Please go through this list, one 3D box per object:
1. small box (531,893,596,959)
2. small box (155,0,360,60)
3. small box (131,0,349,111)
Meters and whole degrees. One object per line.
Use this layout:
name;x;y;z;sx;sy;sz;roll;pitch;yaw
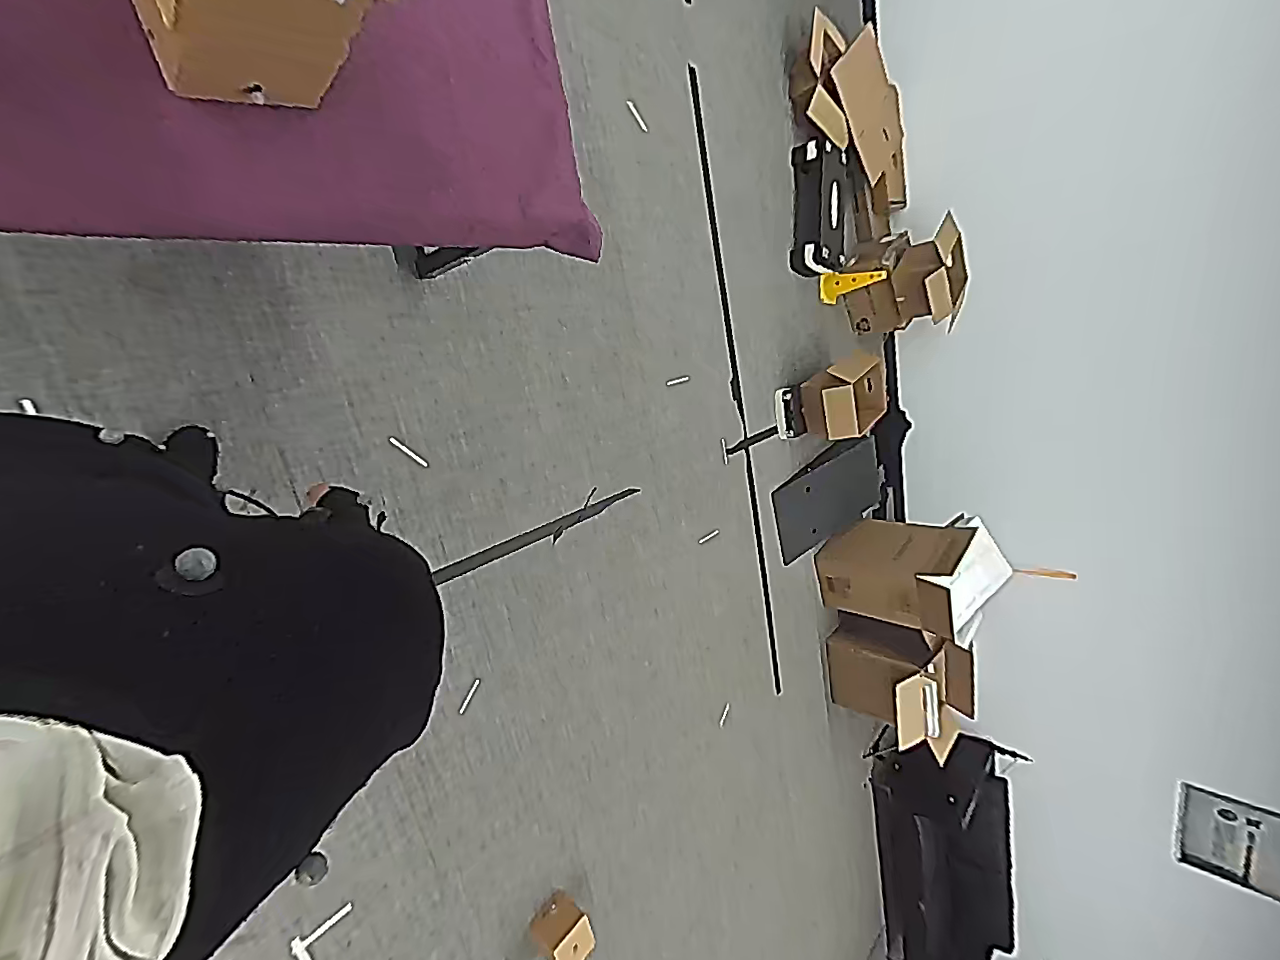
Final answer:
small box;-0.300;1.775;2.110;0.168;0.176;0.179;-28;112;-40
small box;-0.401;-0.564;0.545;0.179;0.176;0.168;-28;111;-40
small box;-0.504;-0.589;0.671;0.179;0.176;0.168;-28;111;-41
